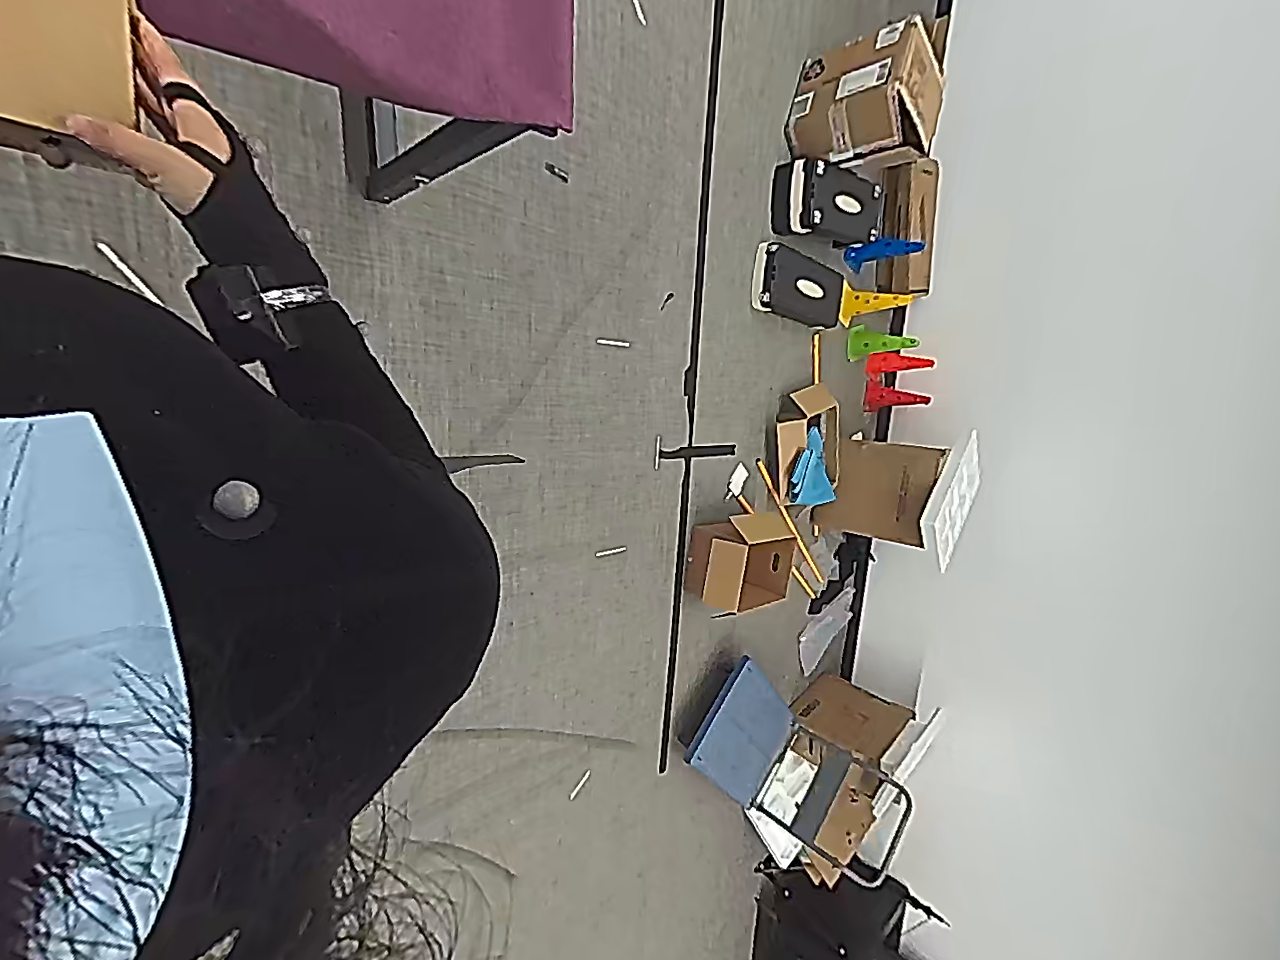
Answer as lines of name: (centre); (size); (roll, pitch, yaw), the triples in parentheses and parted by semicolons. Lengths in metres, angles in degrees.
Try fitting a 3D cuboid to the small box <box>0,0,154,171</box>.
small box: (-0.450, -0.325, 0.363); (0.179, 0.176, 0.168); (-4, 109, -40)
